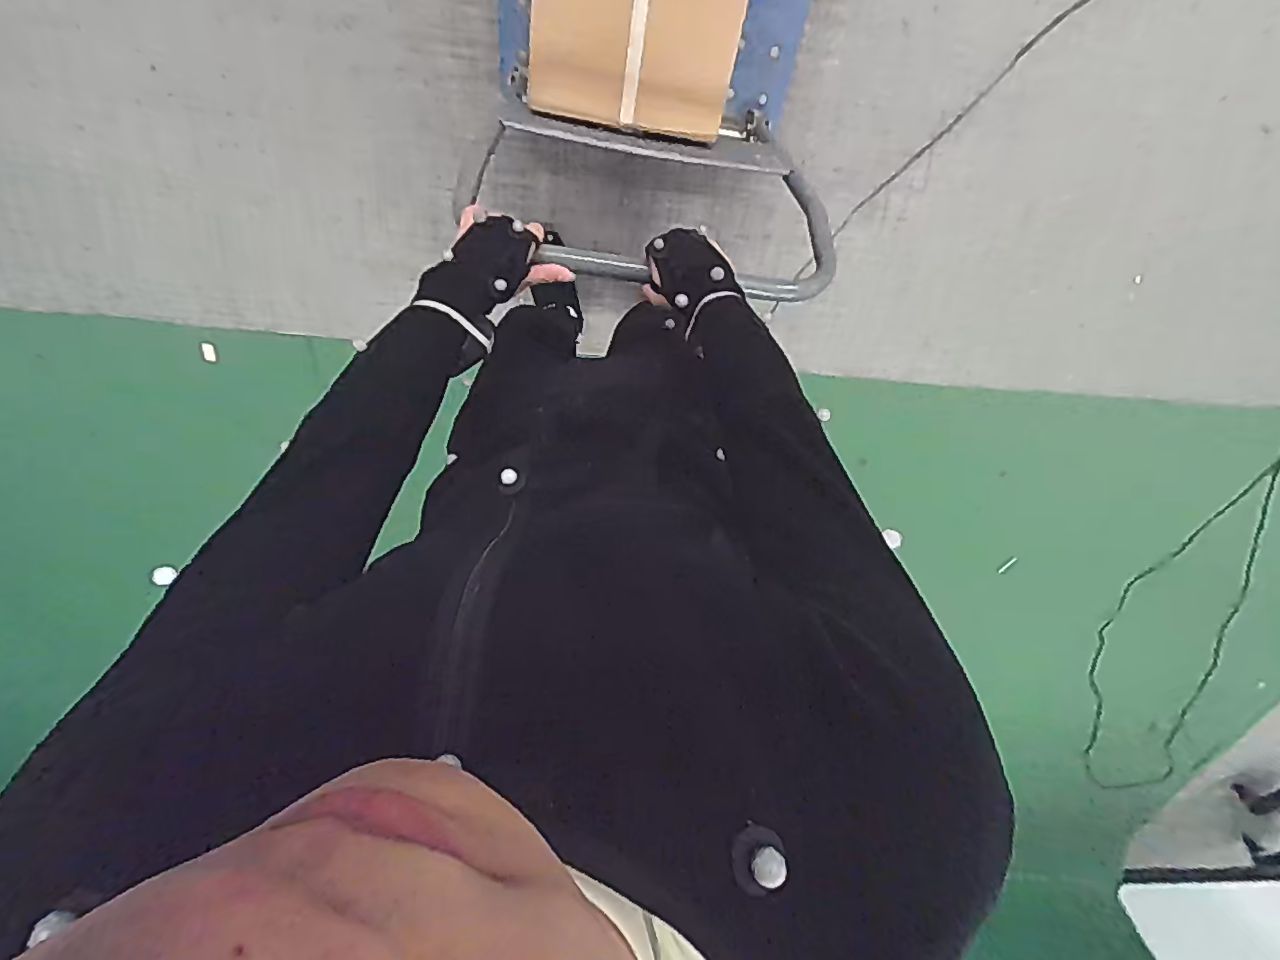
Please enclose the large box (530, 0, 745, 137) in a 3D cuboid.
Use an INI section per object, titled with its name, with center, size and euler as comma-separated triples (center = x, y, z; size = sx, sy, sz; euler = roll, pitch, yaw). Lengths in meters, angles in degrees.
[large box]
center = 0.002, -0.831, 0.872
size = 0.320, 0.320, 0.408
euler = 6, 131, -8
